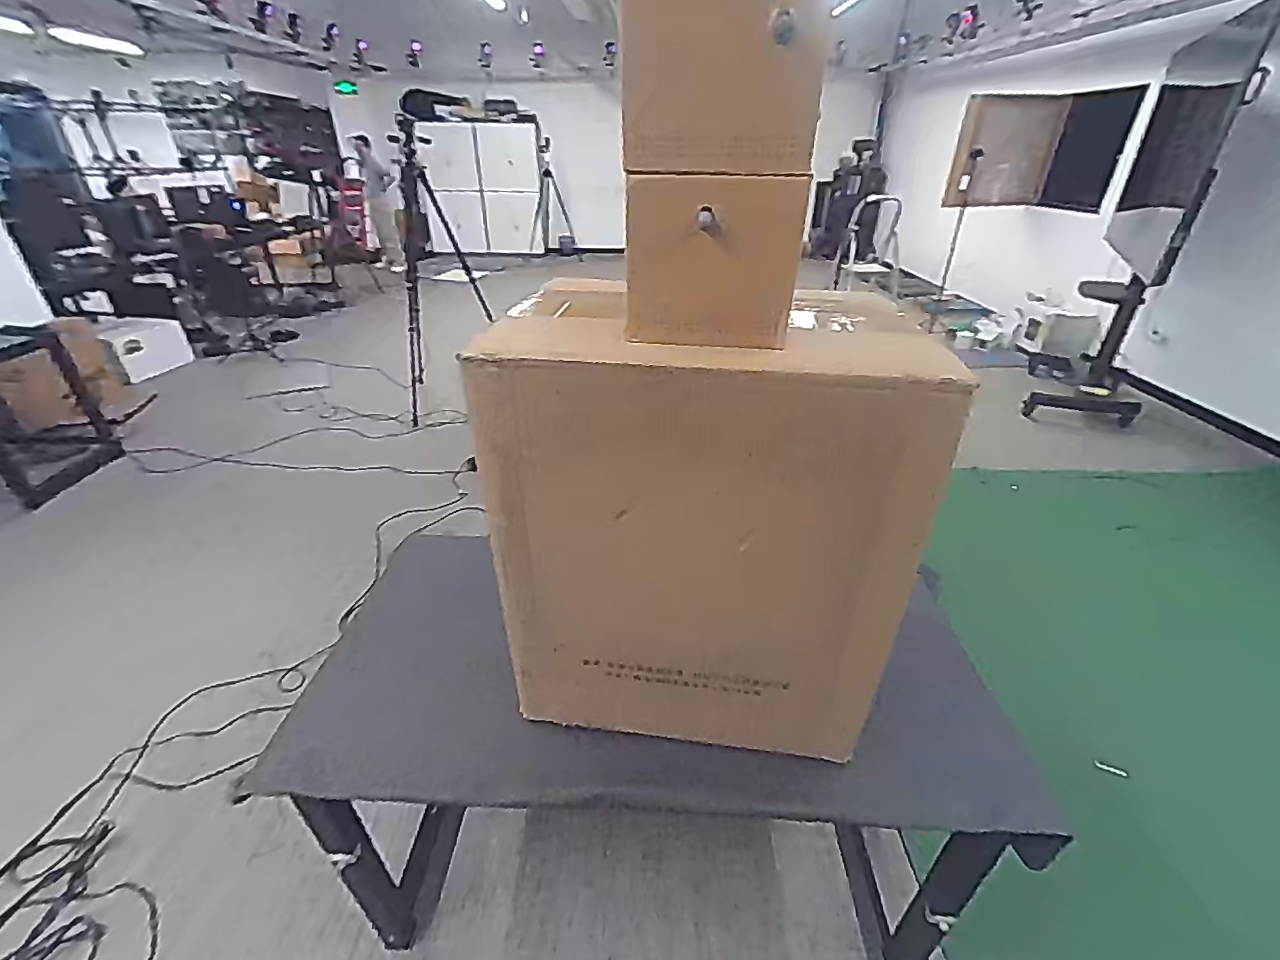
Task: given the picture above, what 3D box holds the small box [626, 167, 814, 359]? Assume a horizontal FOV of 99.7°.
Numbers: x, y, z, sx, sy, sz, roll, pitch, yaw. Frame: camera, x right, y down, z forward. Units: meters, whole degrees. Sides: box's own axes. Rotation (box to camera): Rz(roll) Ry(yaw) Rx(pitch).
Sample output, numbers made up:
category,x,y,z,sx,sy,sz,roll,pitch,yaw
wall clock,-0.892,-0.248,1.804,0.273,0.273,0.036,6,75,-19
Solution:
category,x,y,z,sx,sy,sz,roll,pitch,yaw
small box,0.084,-0.245,0.608,0.179,0.176,0.168,5,34,7
